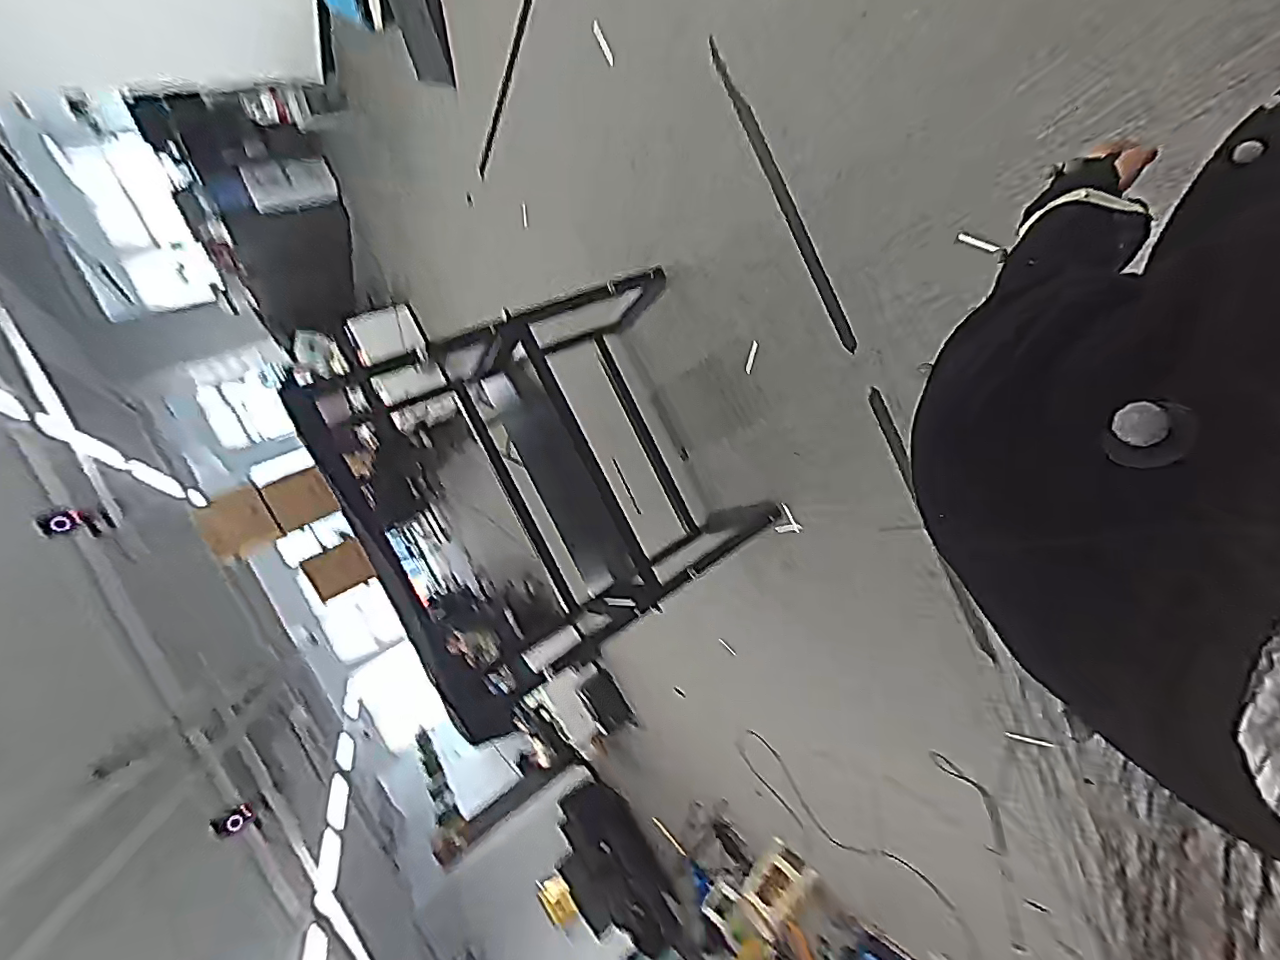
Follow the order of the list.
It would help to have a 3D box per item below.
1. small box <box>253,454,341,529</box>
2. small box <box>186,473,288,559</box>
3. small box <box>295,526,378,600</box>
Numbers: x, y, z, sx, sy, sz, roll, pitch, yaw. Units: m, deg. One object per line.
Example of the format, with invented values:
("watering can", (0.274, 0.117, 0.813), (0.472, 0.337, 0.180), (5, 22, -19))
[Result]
("small box", (-1.029, 0.037, 1.640), (0.168, 0.176, 0.179), (63, 153, -6))
("small box", (-1.154, 0.106, 1.553), (0.179, 0.176, 0.168), (63, 153, -1))
("small box", (-0.925, 0.249, 1.663), (0.179, 0.176, 0.168), (-13, 104, 62))
